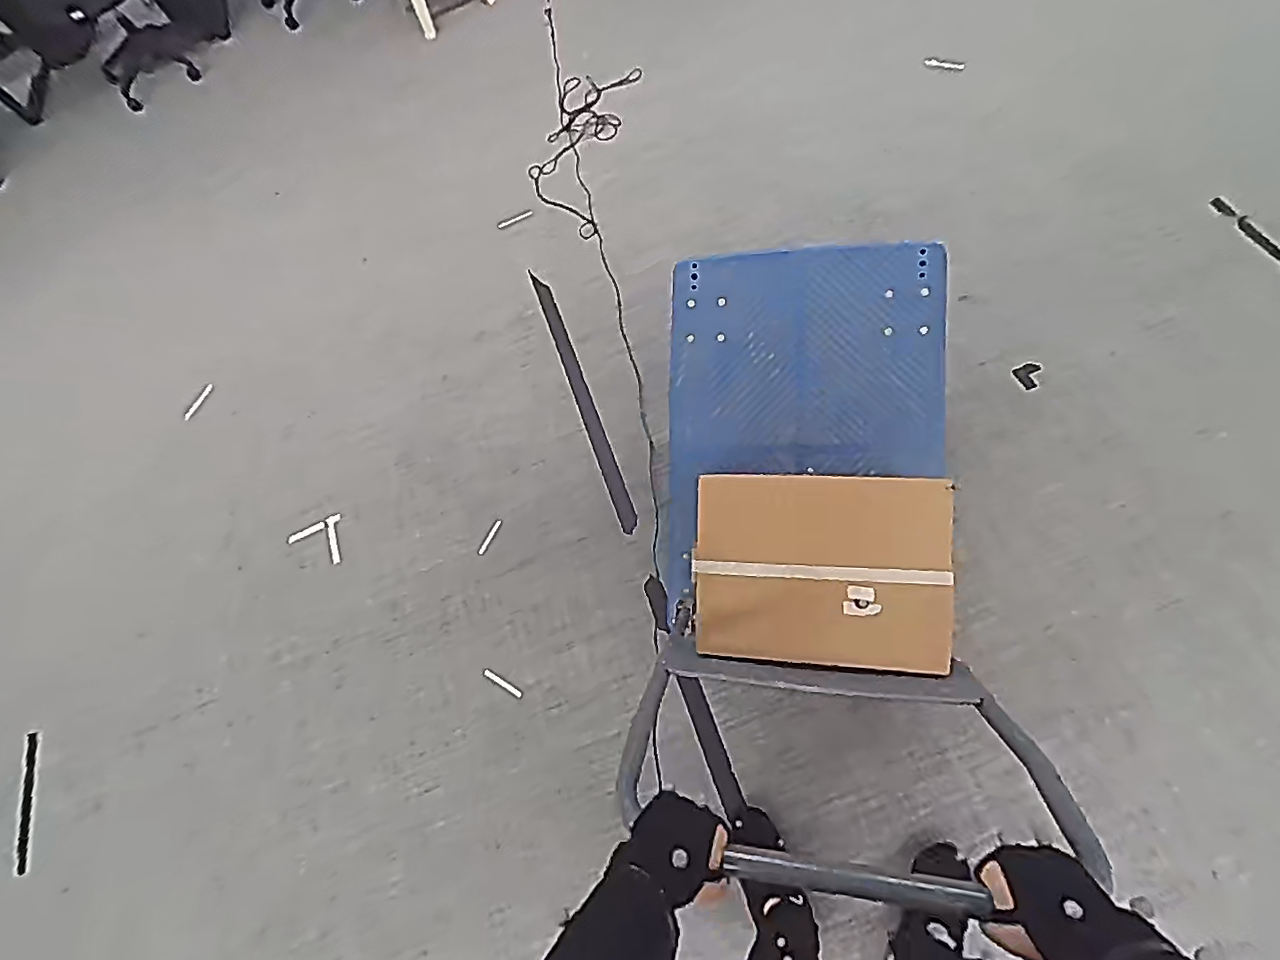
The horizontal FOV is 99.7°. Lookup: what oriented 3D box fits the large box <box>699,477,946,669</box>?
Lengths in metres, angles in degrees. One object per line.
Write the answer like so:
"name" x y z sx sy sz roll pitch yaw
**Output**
"large box" 0.327 0.154 1.057 0.408 0.320 0.320 1 91 11
